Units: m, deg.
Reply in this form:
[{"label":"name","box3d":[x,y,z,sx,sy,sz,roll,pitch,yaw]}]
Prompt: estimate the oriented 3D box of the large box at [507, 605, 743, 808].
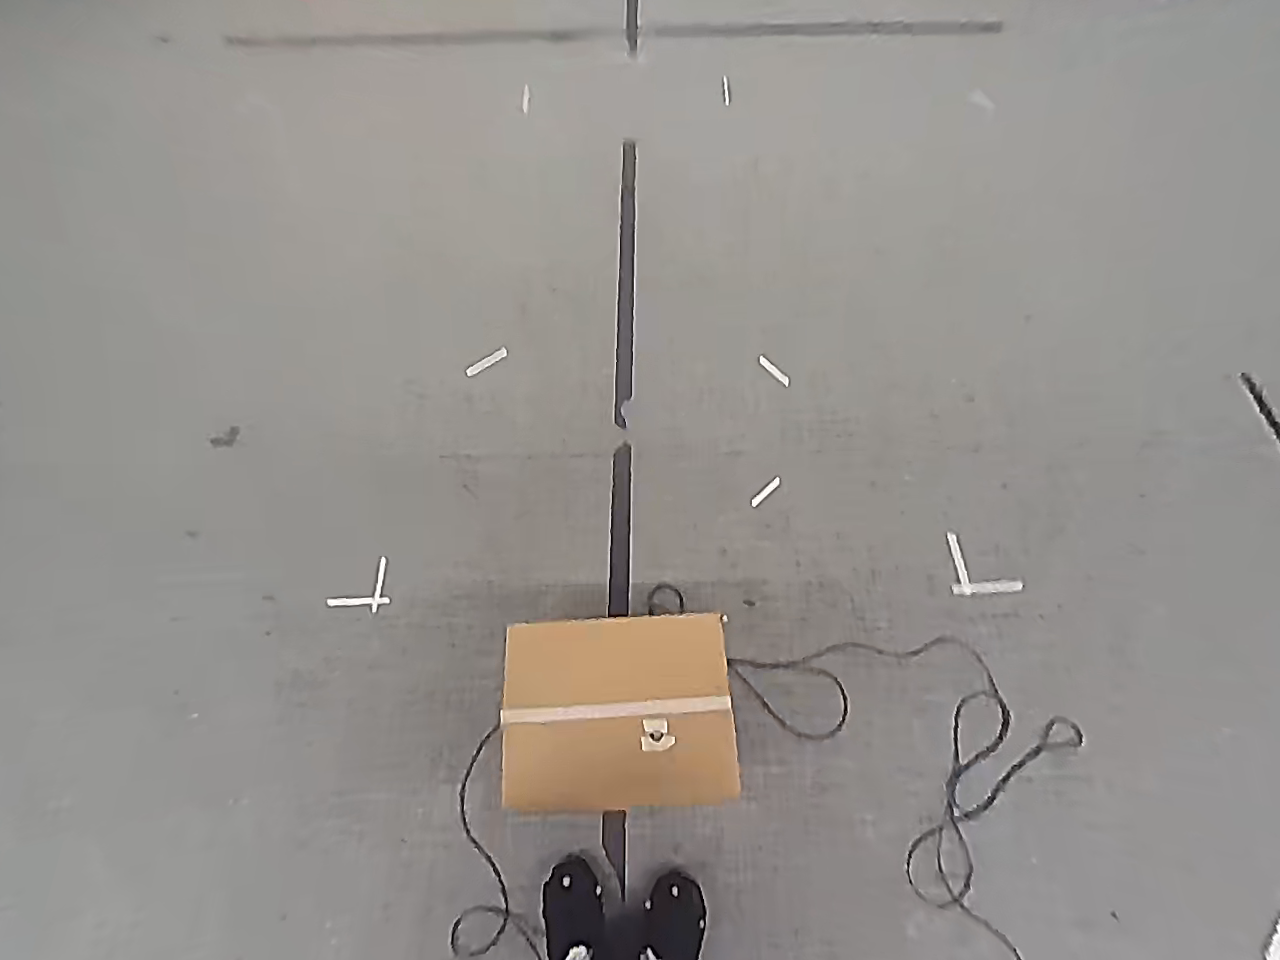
[{"label":"large box","box3d":[-0.035,0.444,1.090,0.408,0.320,0.320,-3,69,-1]}]
